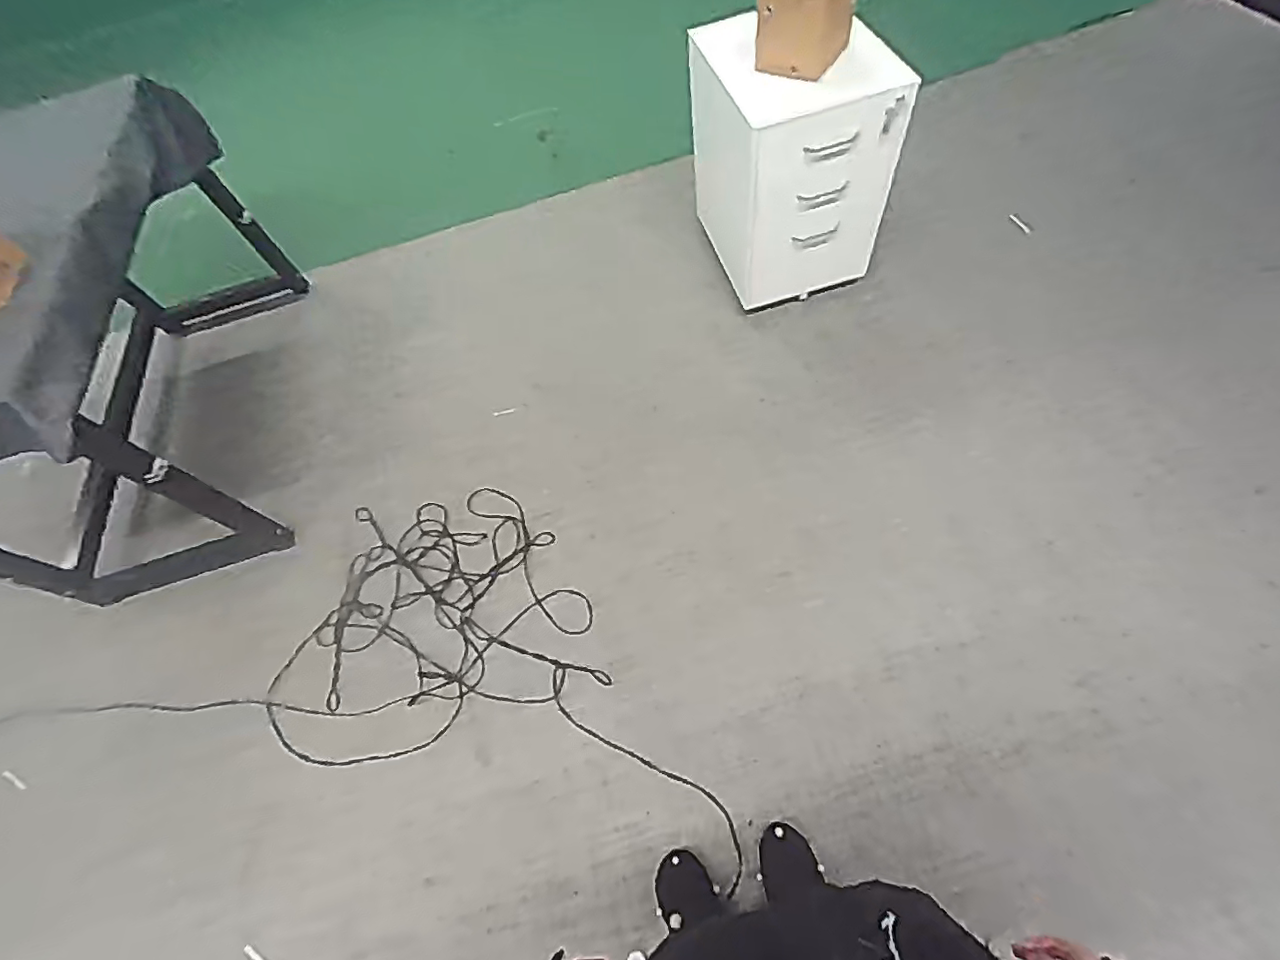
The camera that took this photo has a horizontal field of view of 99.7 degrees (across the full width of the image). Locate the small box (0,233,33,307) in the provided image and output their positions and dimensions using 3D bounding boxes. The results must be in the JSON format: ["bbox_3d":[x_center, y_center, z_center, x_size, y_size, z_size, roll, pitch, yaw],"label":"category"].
[{"bbox_3d":[-1.347,-0.417,1.026,0.179,0.176,0.168,-16,60,-1],"label":"small box"}]
